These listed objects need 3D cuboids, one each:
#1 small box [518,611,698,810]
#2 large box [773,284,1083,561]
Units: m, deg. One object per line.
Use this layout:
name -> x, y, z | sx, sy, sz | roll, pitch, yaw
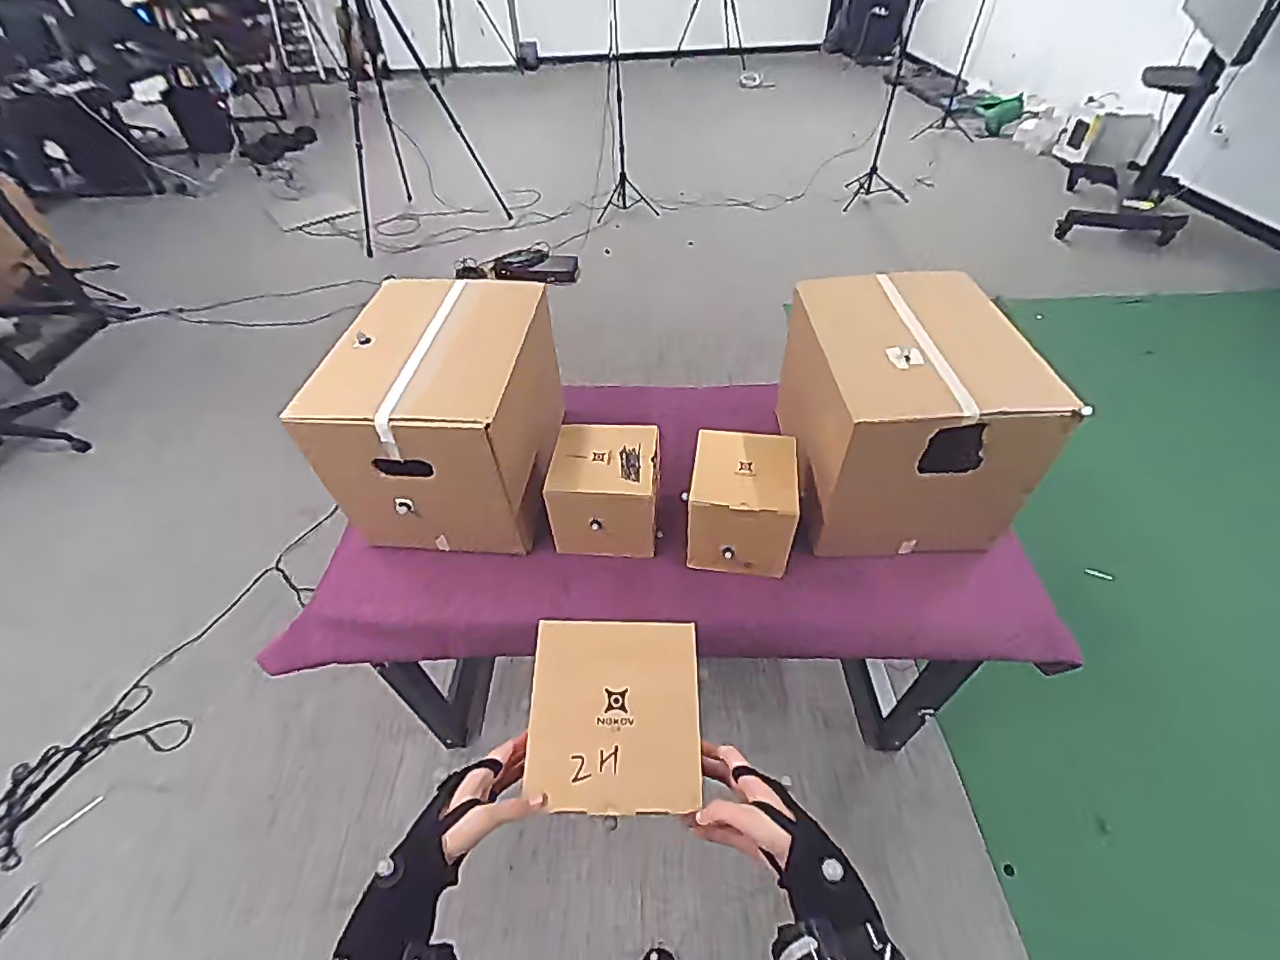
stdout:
small box -> -0.030, 0.257, 0.594 | 0.168, 0.176, 0.179 | 2, 59, -1
large box -> 0.445, -0.110, 0.969 | 0.320, 0.320, 0.408 | -3, 47, 3
